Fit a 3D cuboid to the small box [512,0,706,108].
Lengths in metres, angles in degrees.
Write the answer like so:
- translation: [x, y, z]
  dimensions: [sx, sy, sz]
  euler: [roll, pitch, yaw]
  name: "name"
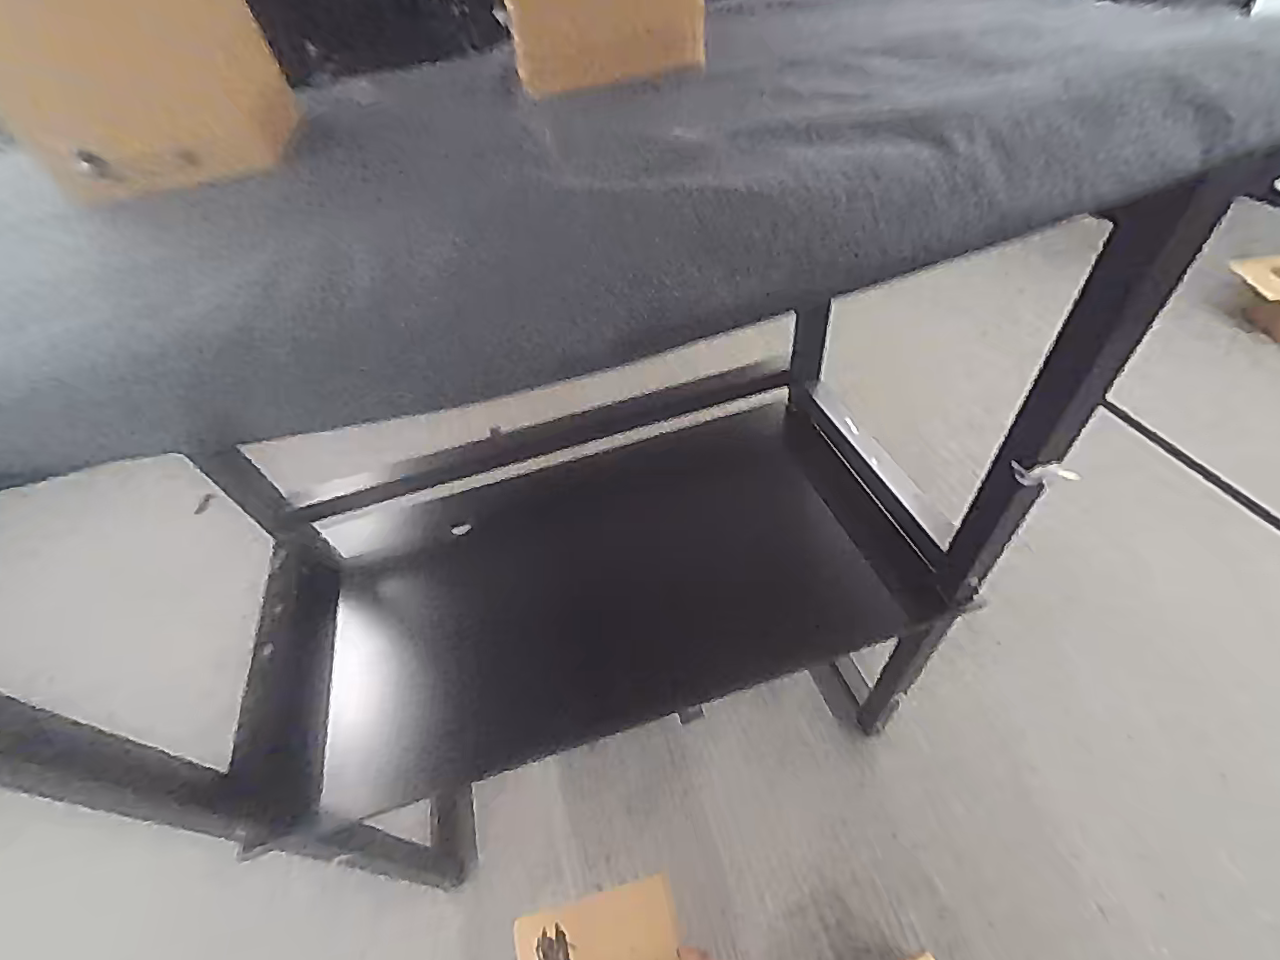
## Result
- translation: [-0.039, -0.490, 0.522]
  dimensions: [0.179, 0.176, 0.168]
  euler: [-14, 47, -3]
  name: "small box"
